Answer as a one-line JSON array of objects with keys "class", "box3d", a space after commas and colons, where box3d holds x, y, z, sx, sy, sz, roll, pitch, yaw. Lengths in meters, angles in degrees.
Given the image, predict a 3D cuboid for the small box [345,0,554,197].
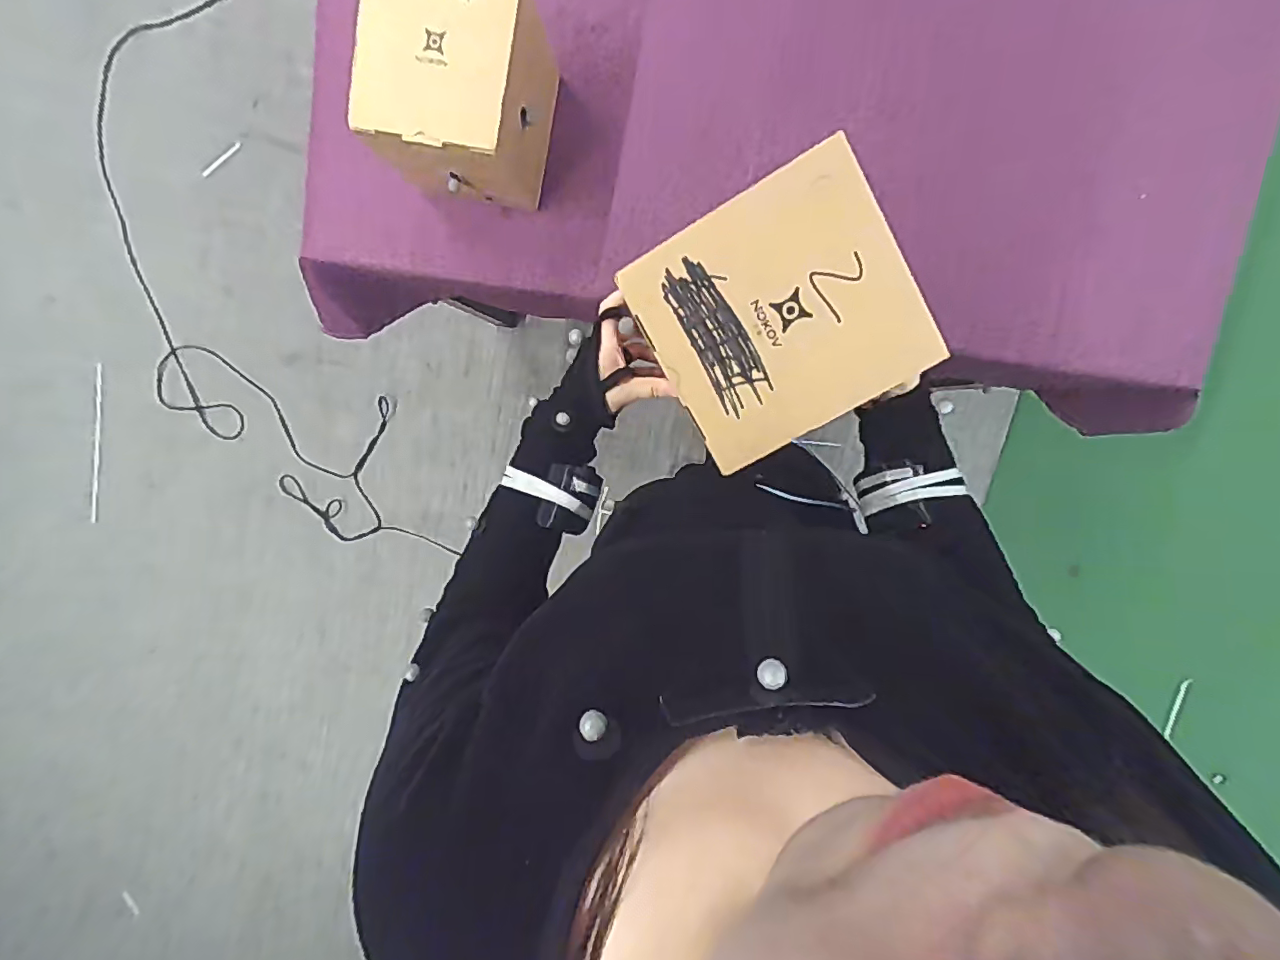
[{"class": "small box", "box3d": [-0.206, -0.456, 0.626, 0.168, 0.176, 0.179, 13, 99, 1]}]
